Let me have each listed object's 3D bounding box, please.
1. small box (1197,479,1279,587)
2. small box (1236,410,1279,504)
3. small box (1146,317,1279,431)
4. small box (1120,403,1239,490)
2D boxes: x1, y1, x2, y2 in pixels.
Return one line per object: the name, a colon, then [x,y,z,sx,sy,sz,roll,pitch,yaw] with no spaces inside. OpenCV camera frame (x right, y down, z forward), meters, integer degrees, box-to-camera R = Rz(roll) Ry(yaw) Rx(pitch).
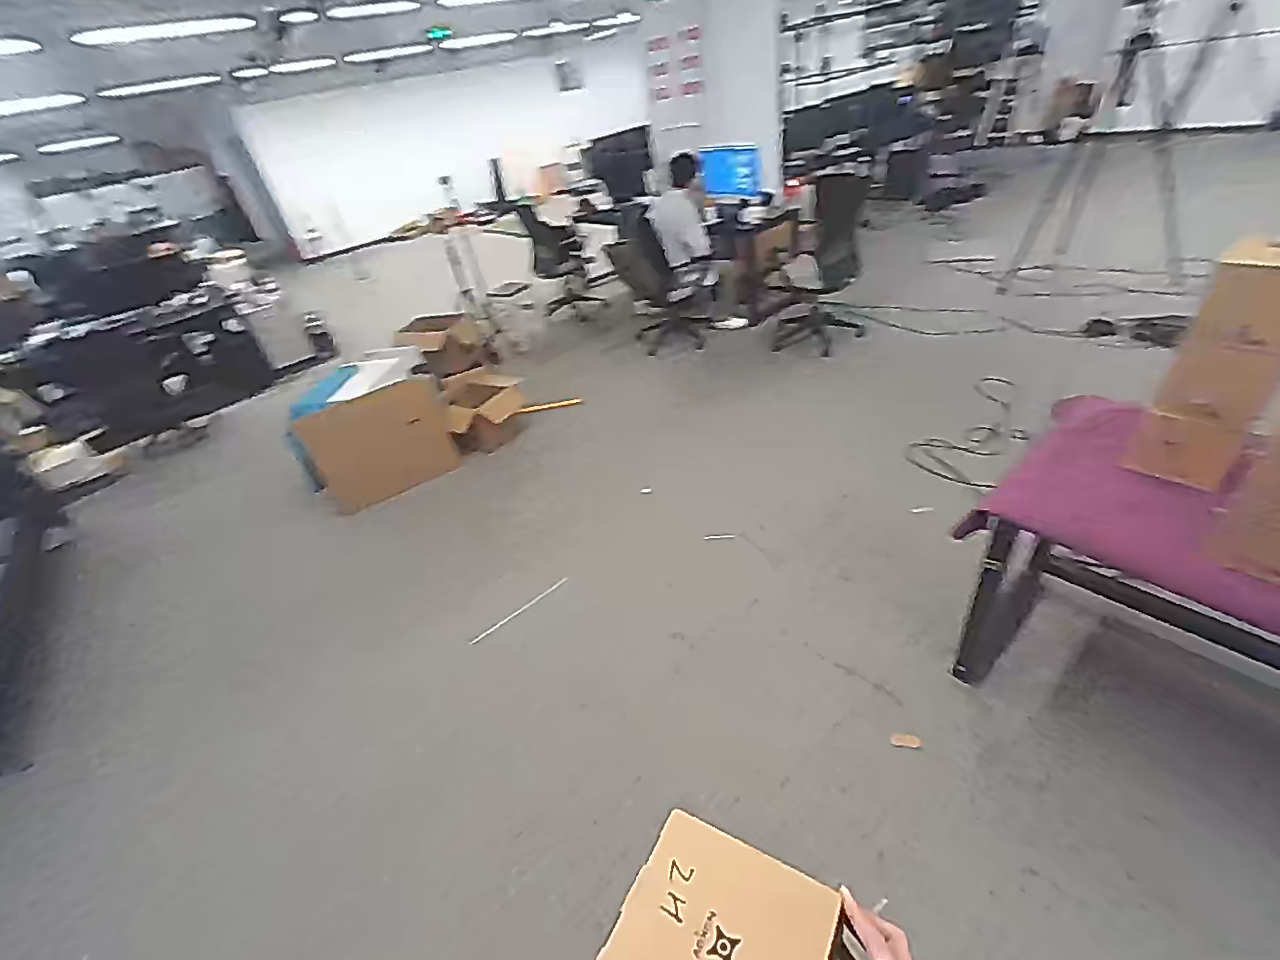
small box: [1.222,0.084,1.031,0.179,0.176,0.168,-31,40,-27]
small box: [1.200,-0.049,0.938,0.179,0.176,0.168,-32,41,-26]
small box: [1.256,-0.232,1.176,0.179,0.176,0.168,-30,39,-24]
small box: [1.277,-0.102,1.274,0.179,0.176,0.168,-33,40,-28]
